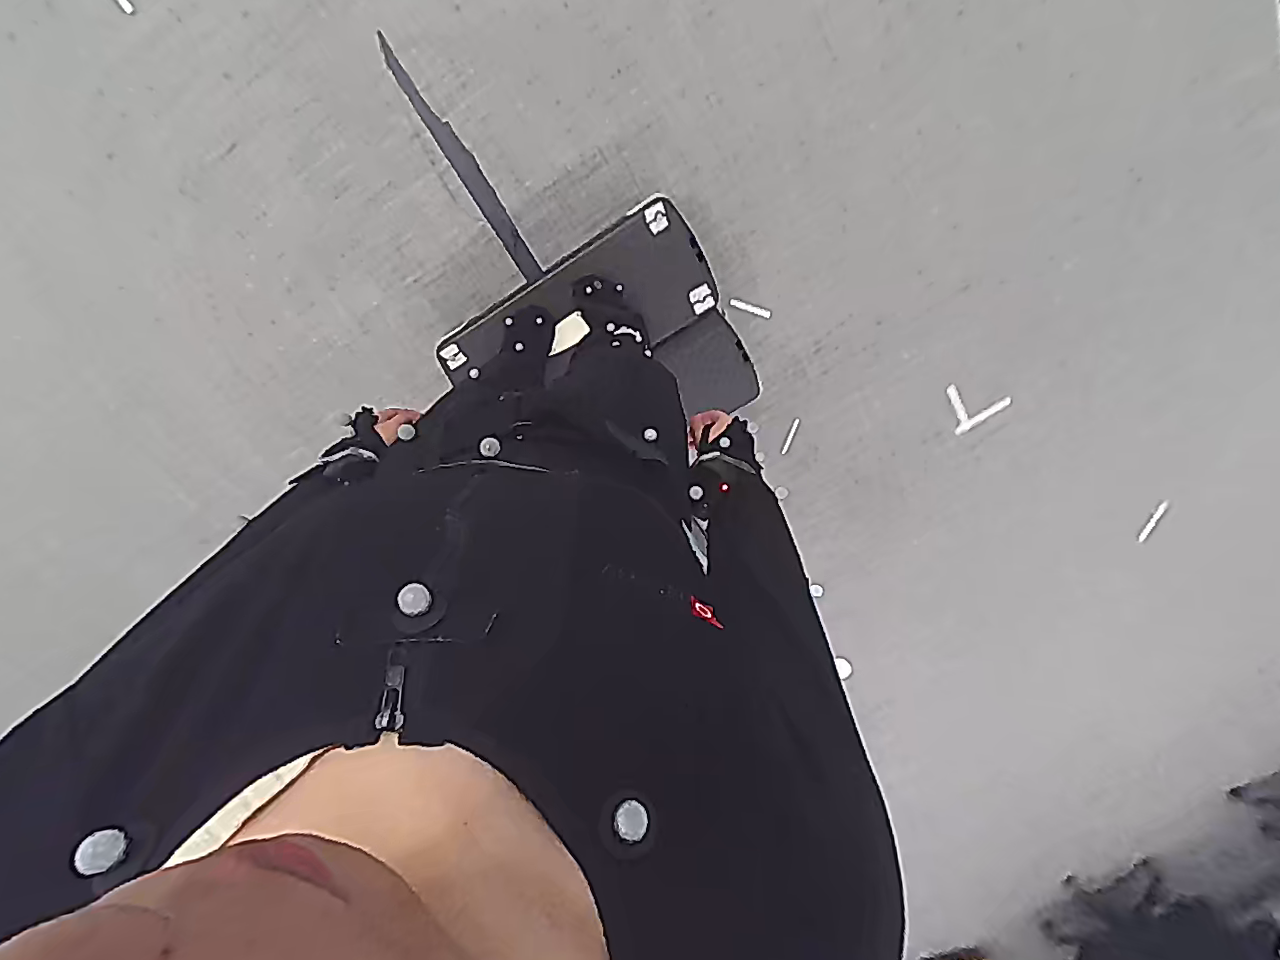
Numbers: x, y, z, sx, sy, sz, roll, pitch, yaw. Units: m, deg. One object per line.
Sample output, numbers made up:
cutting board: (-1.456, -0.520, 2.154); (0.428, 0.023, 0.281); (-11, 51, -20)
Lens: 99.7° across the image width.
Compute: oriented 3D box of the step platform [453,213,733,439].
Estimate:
step platform: (-0.116, -0.375, 1.354); (0.684, 0.204, 0.286); (-27, 111, 6)
